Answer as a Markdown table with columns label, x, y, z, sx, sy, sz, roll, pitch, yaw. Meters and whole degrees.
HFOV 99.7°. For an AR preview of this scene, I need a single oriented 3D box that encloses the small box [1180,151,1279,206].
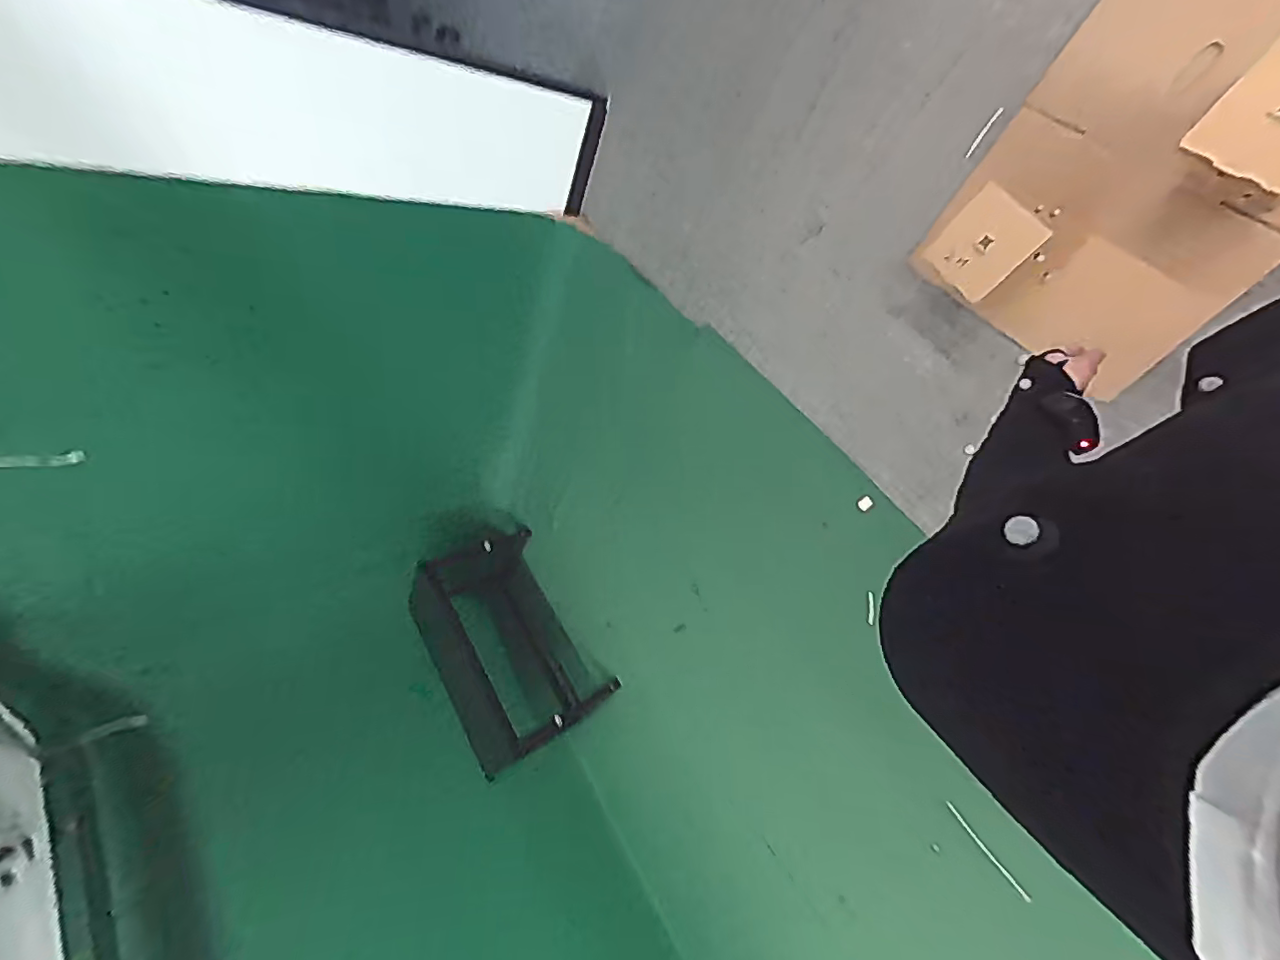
| label | x | y | z | sx | sy | sz | roll | pitch | yaw |
| --- | --- | --- | --- | --- | --- | --- | --- | --- | --- |
| small box | 1.123 | -0.608 | 0.949 | 0.168 | 0.176 | 0.179 | 51 | 136 | 23 |

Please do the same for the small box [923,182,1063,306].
| label | x | y | z | sx | sy | sz | roll | pitch | yaw |
| --- | --- | --- | --- | --- | --- | --- | --- | --- | --- |
| small box | 0.755 | -0.496 | 1.150 | 0.168 | 0.176 | 0.179 | 57 | 138 | 19 |

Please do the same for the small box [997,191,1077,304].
| label | x | y | z | sx | sy | sz | roll | pitch | yaw |
| --- | --- | --- | --- | --- | --- | --- | --- | --- | --- |
| small box | 0.873 | -0.536 | 1.261 | 0.168 | 0.176 | 0.179 | 57 | 137 | 19 |

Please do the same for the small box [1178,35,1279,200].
| label | x | y | z | sx | sy | sz | roll | pitch | yaw |
| --- | --- | --- | --- | --- | --- | --- | --- | --- | --- |
| small box | 1.008 | -0.566 | 0.844 | 0.168 | 0.176 | 0.179 | 50 | 137 | 24 |
